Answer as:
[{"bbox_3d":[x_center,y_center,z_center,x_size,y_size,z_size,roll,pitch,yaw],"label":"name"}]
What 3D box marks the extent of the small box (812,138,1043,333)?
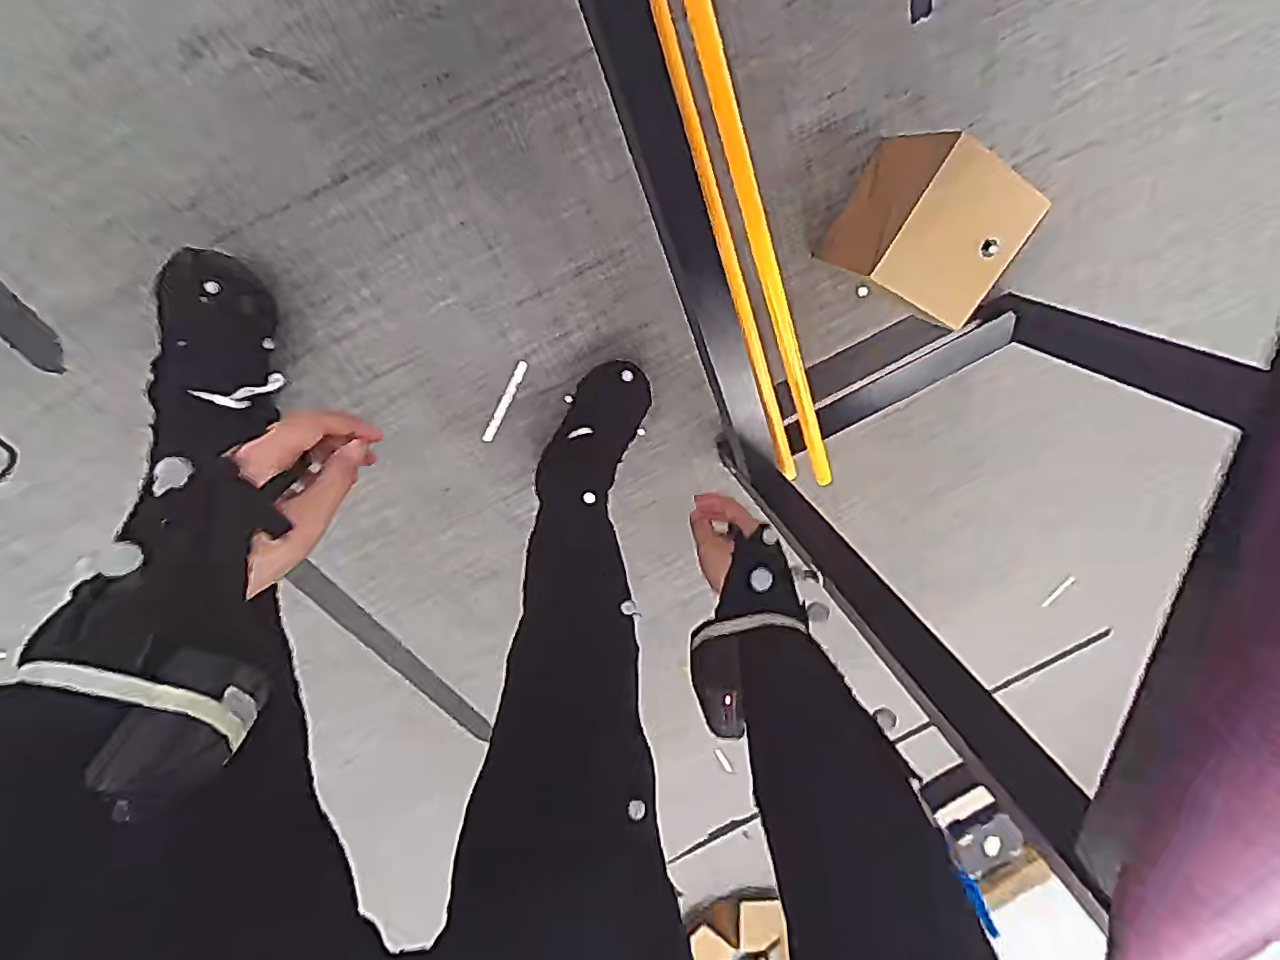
[{"bbox_3d":[0.373,-0.331,0.732,0.176,0.168,0.179,20,114,-21],"label":"small box"}]
